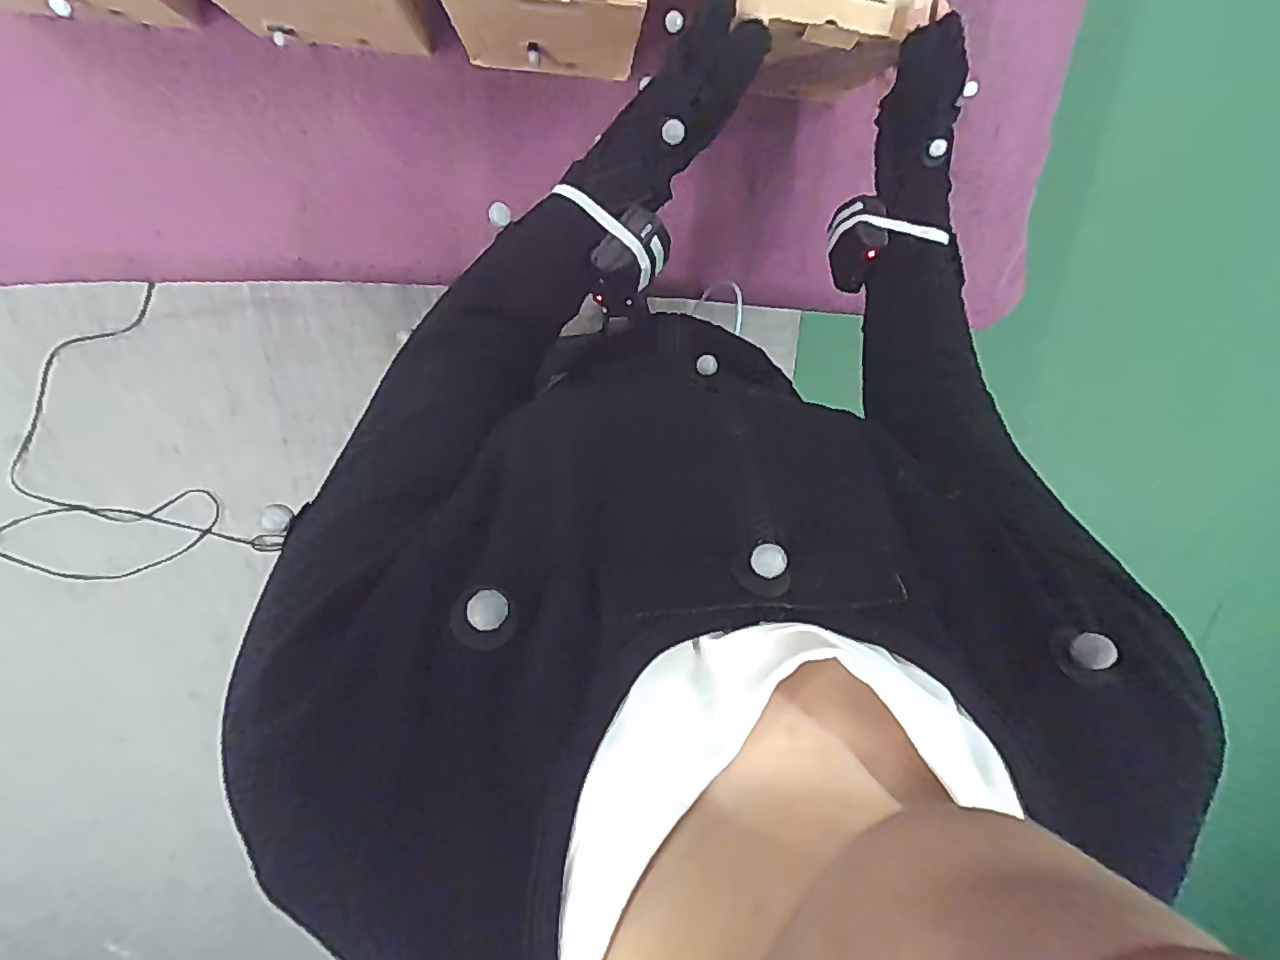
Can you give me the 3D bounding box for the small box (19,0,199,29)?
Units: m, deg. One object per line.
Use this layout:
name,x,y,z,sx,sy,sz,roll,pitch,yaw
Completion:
small box,-0.493,-0.495,0.415,0.168,0.176,0.179,1,111,-6
